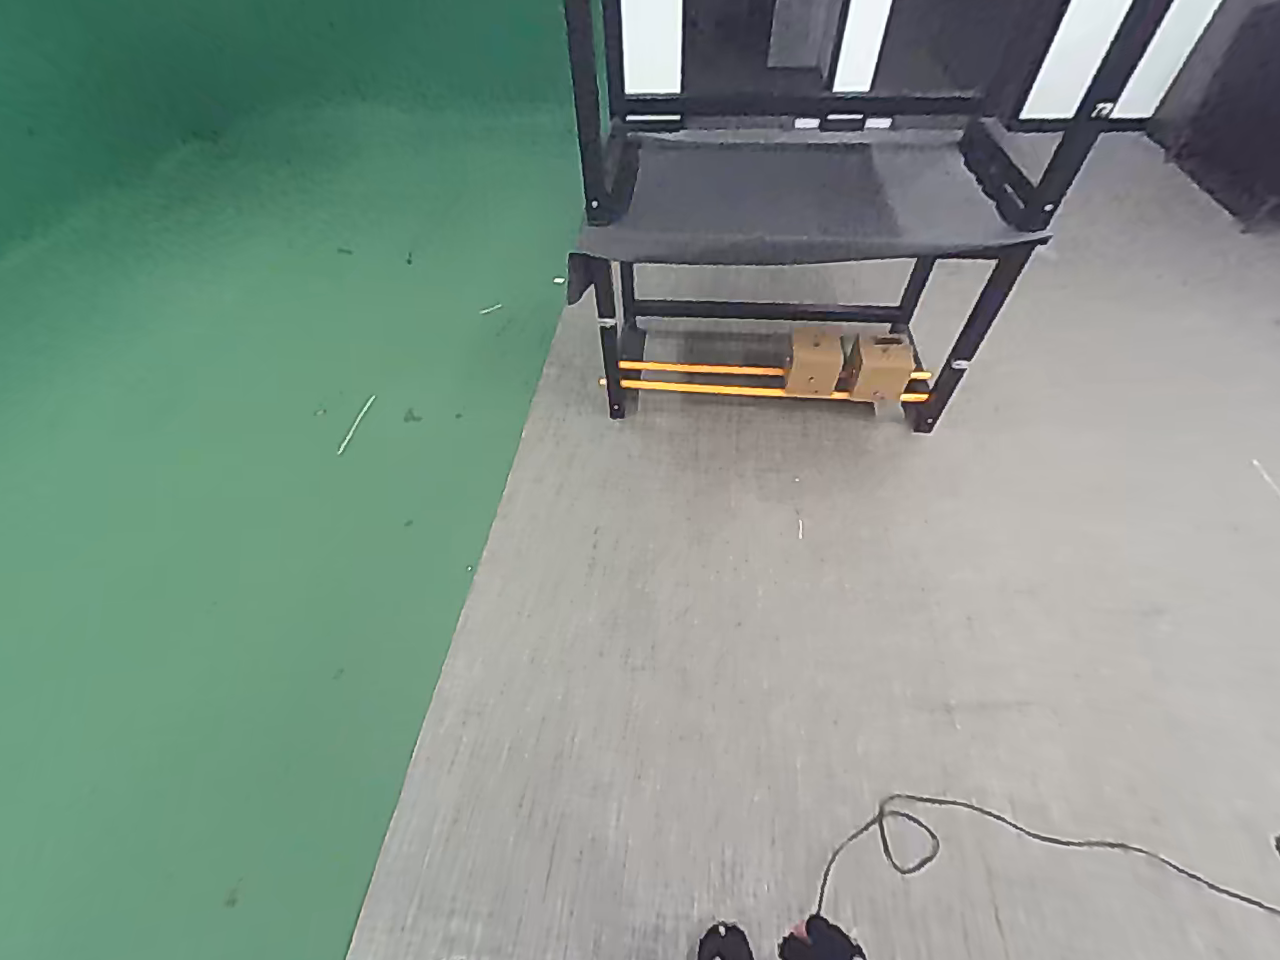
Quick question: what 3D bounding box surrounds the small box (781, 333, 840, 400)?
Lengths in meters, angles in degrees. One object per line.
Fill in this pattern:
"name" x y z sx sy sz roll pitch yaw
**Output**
"small box" 0.602 -0.403 1.931 0.168 0.176 0.179 3 52 5
